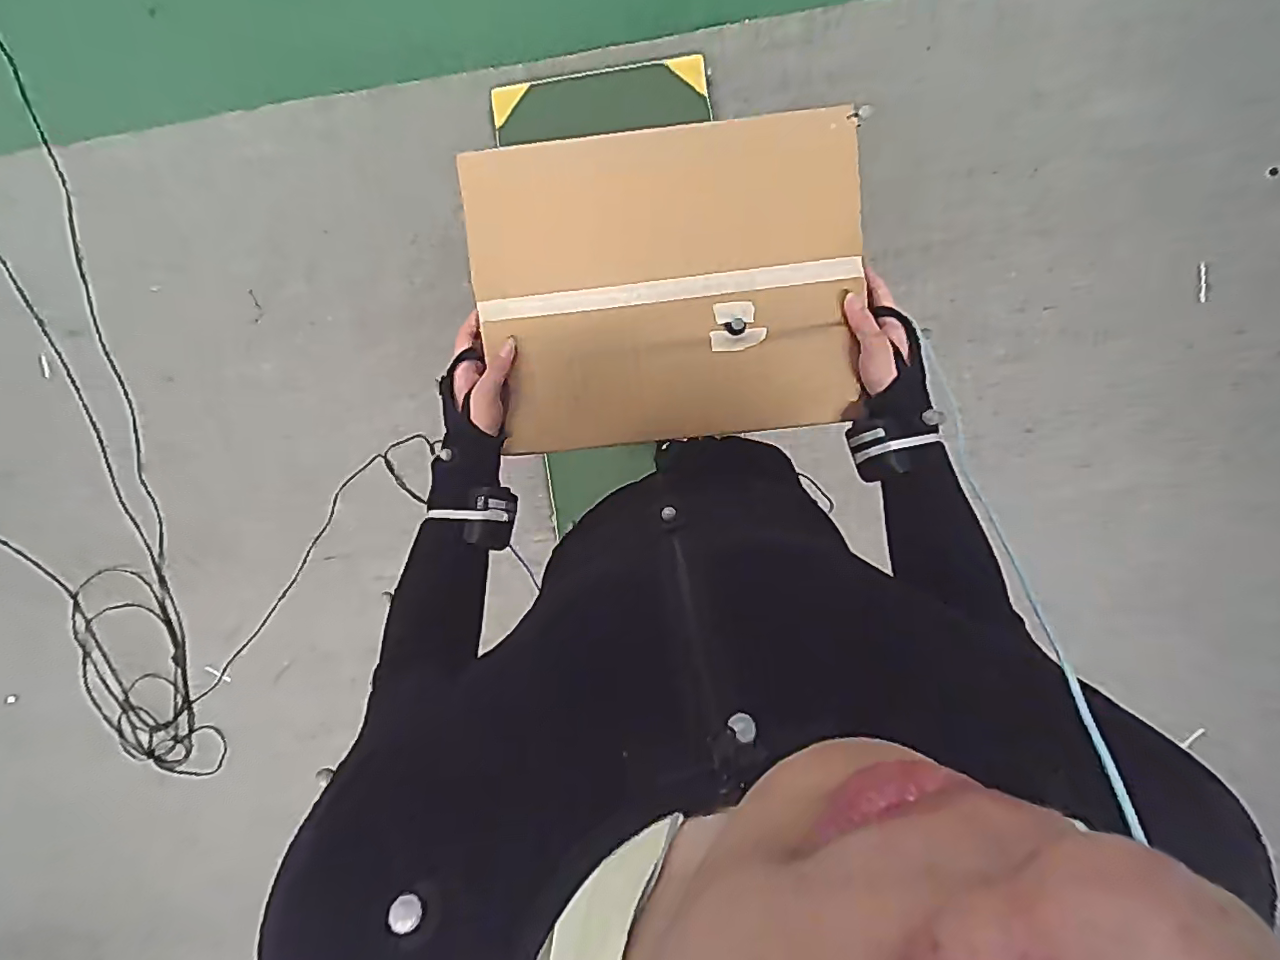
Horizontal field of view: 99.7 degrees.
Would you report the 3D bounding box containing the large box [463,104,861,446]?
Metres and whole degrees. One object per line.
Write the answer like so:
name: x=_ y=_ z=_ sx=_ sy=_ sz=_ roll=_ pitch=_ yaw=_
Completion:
large box: x=0.028 y=-0.230 z=0.722 sx=0.408 sy=0.320 sz=0.320 roll=-6 pitch=99 yaw=1
